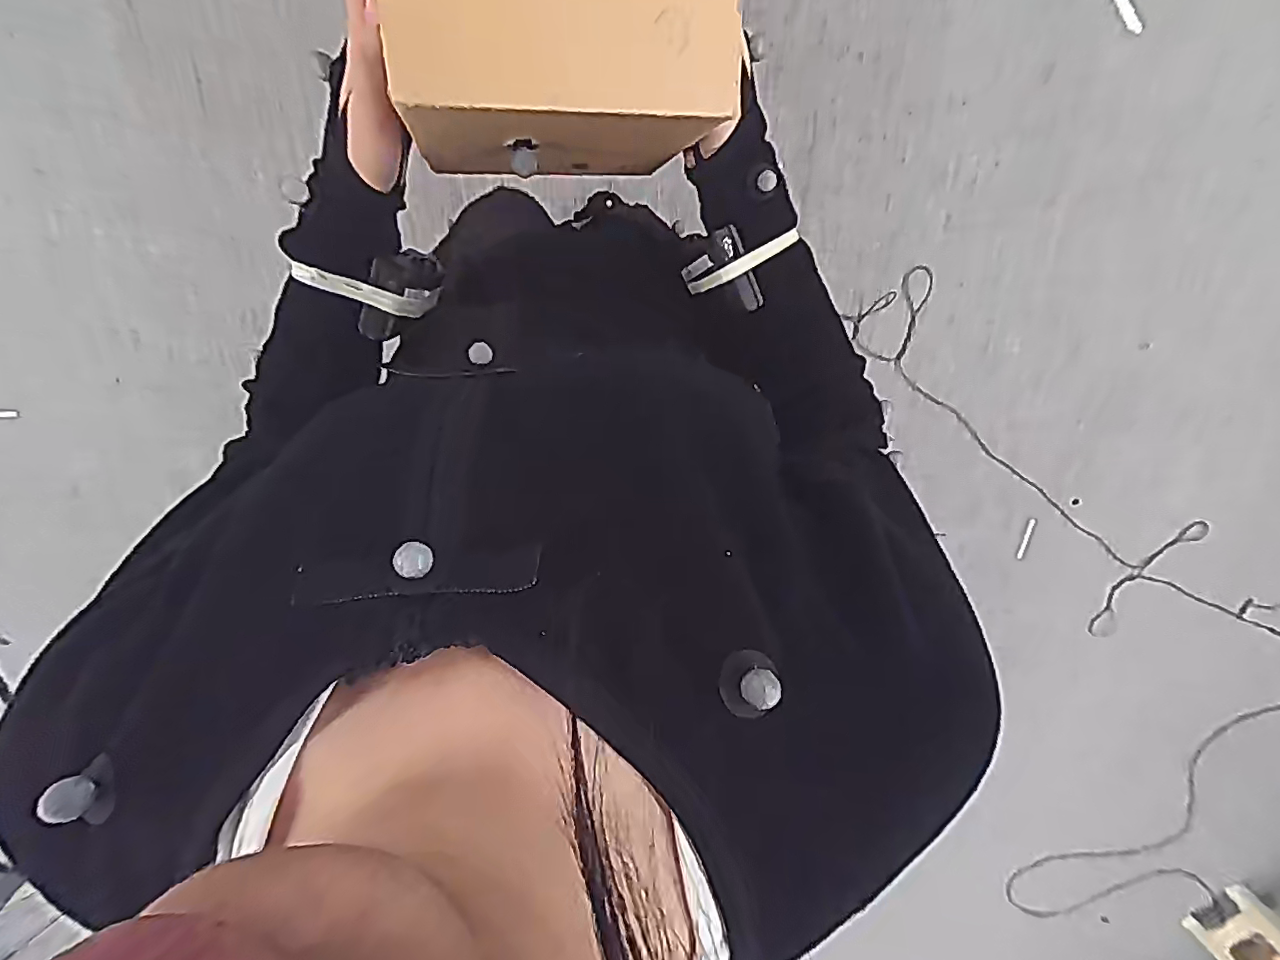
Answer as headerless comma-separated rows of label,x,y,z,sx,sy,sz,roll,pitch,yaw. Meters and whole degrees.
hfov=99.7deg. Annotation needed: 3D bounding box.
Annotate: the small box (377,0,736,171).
small box,-0.052,-0.286,0.305,0.168,0.176,0.179,-6,110,-12
